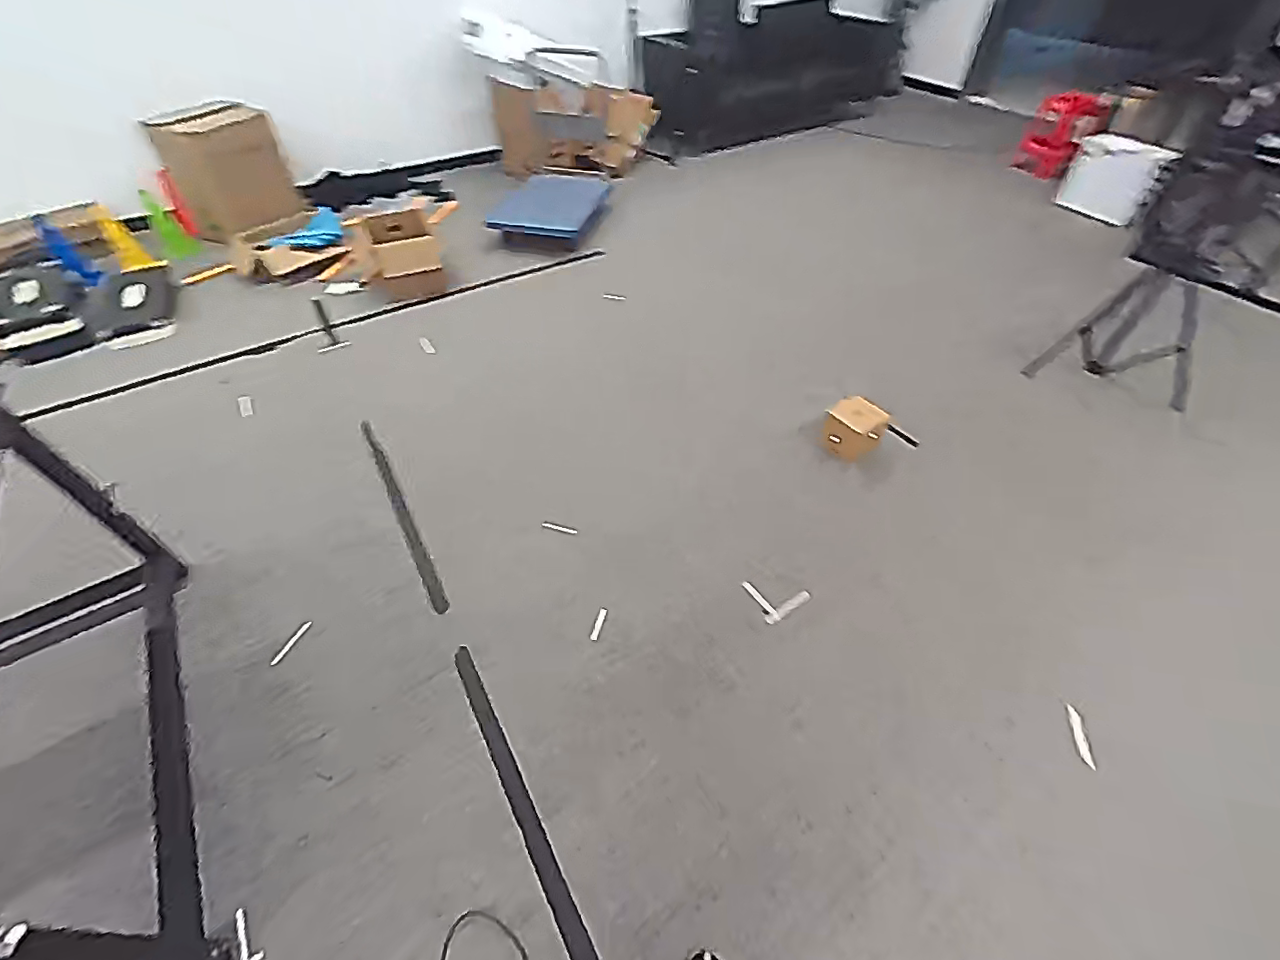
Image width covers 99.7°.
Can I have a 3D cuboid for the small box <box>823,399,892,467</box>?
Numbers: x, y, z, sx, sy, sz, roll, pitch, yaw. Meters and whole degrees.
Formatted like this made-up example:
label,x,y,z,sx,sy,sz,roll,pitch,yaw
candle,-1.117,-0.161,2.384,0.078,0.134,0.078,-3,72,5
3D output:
label,x,y,z,sx,sy,sz,roll,pitch,yaw
small box,0.835,-0.180,2.098,0.179,0.176,0.168,-26,52,-23
